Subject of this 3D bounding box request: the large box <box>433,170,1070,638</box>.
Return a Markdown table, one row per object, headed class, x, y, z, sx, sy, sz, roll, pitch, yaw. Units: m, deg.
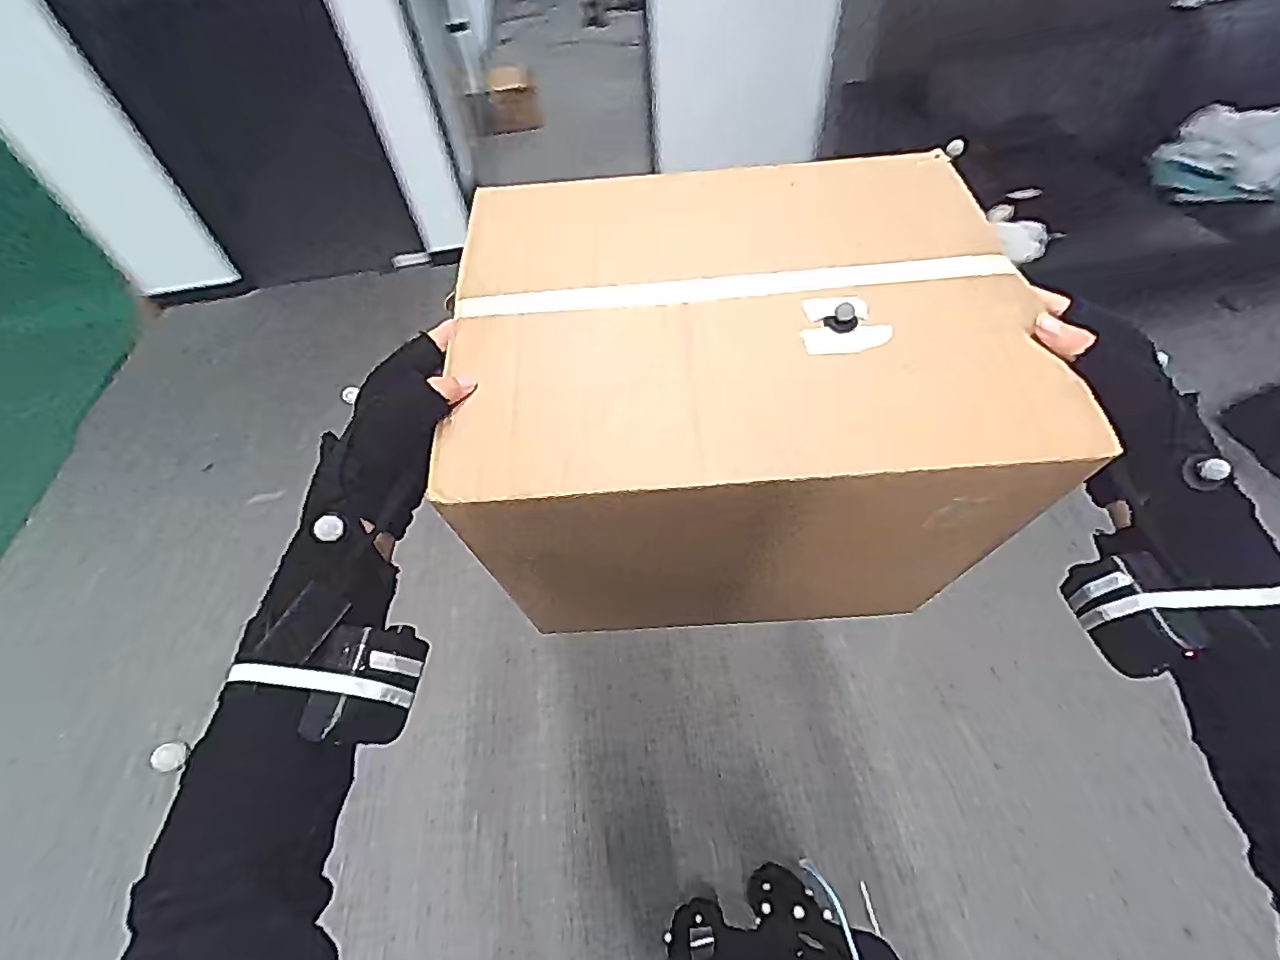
| class | x | y | z | sx | sy | sz | roll | pitch | yaw |
| --- | --- | --- | --- | --- | --- | --- | --- | --- | --- |
| large box | 0.061 | -0.053 | 0.532 | 0.408 | 0.320 | 0.320 | -5 | 60 | 0 |
